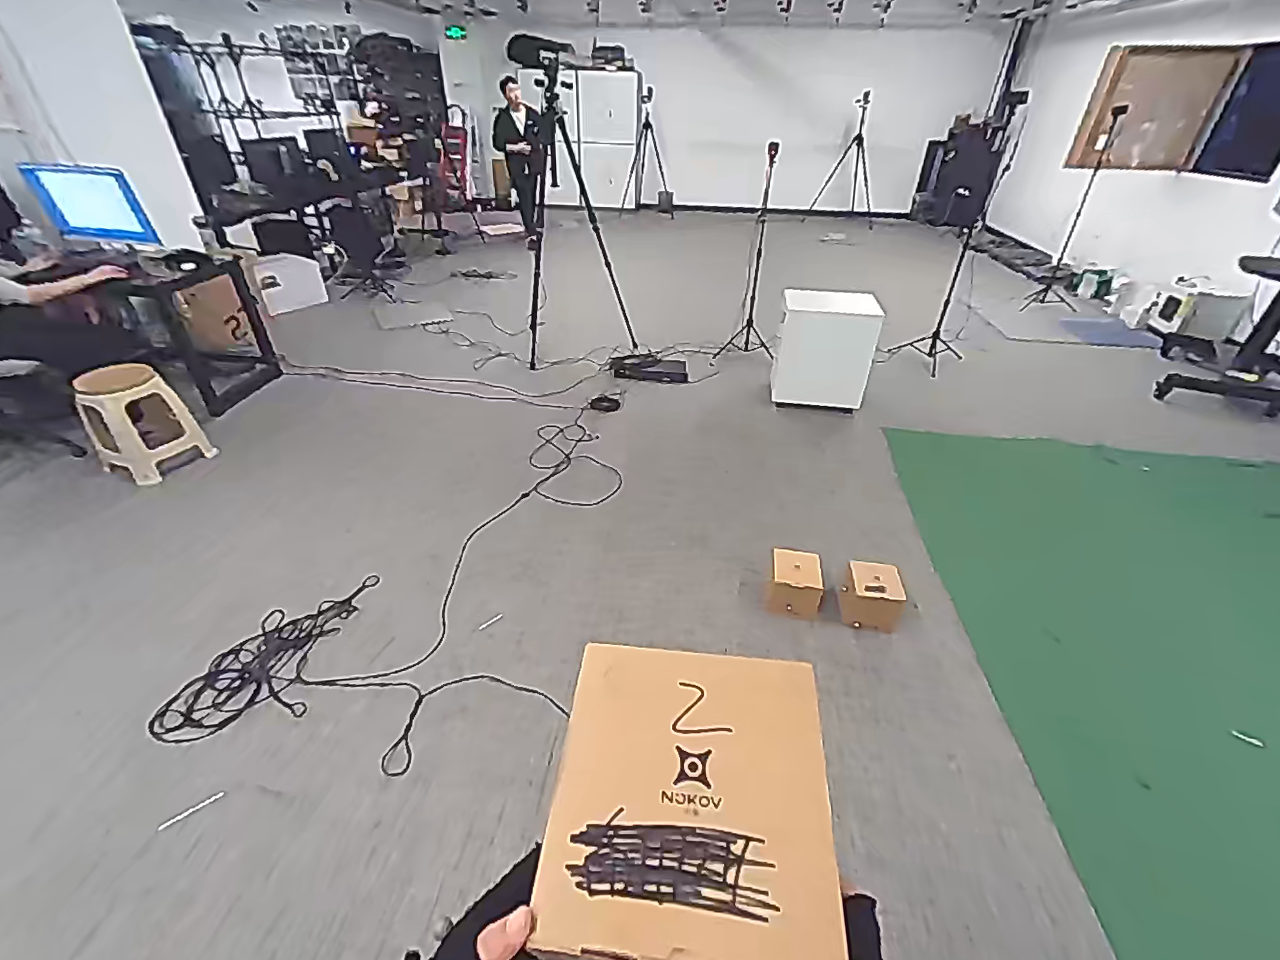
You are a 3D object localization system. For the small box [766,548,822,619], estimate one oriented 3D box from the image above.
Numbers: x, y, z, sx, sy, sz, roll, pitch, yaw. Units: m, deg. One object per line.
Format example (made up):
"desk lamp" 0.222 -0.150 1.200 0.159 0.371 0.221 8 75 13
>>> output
"small box" 0.555 0.377 1.970 0.168 0.176 0.179 7 36 7

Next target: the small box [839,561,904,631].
"small box" 0.819 0.416 1.928 0.168 0.176 0.179 6 35 7
